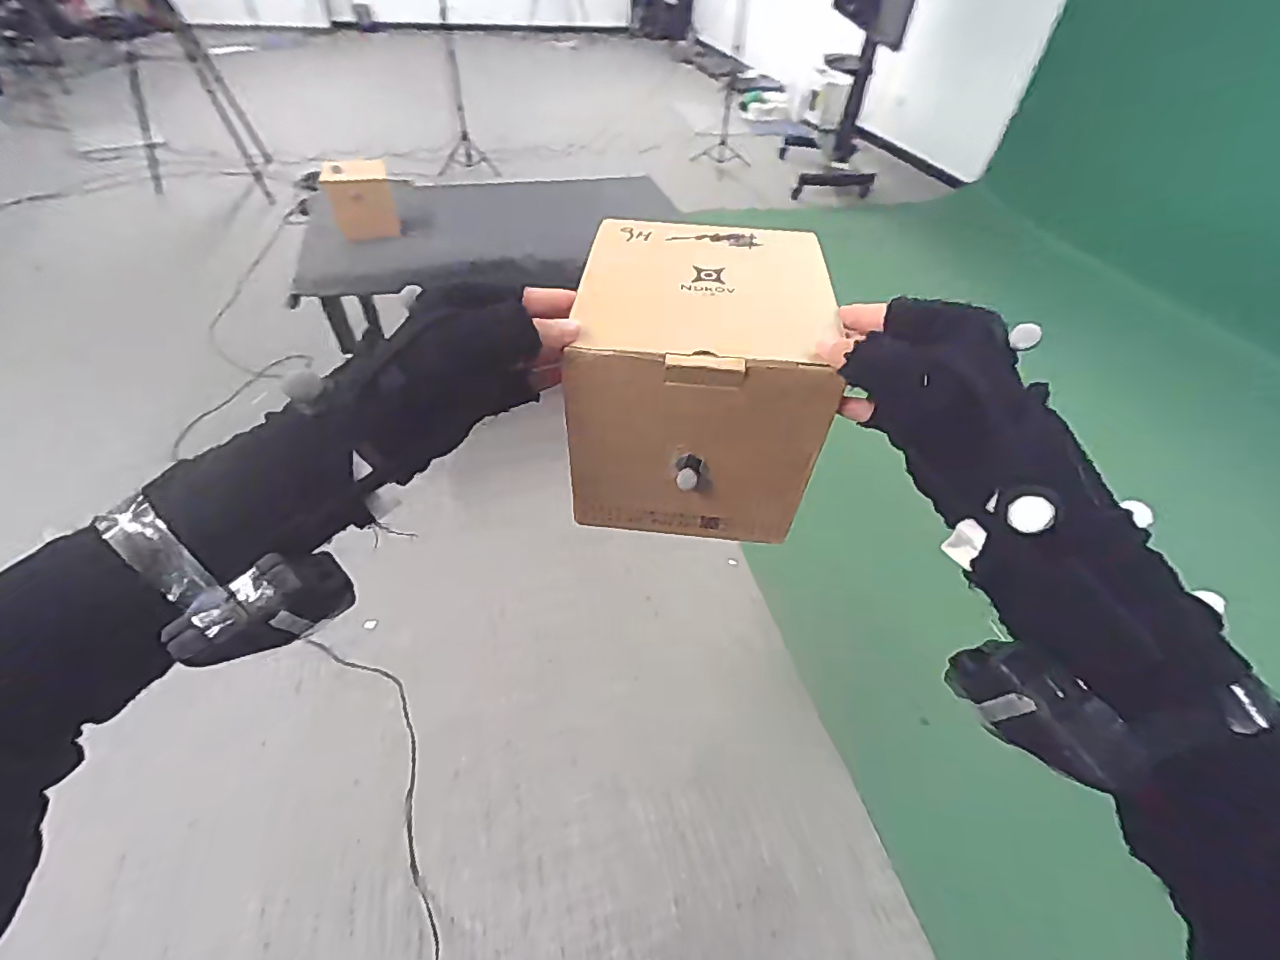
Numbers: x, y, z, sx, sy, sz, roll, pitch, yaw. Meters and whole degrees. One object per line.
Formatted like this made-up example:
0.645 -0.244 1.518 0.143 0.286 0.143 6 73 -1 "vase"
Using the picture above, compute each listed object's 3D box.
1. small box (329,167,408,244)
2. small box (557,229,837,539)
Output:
-0.824 -0.834 1.650 0.179 0.176 0.168 -11 48 -16 "small box"
0.039 -0.072 0.424 0.168 0.176 0.179 5 48 2 "small box"
